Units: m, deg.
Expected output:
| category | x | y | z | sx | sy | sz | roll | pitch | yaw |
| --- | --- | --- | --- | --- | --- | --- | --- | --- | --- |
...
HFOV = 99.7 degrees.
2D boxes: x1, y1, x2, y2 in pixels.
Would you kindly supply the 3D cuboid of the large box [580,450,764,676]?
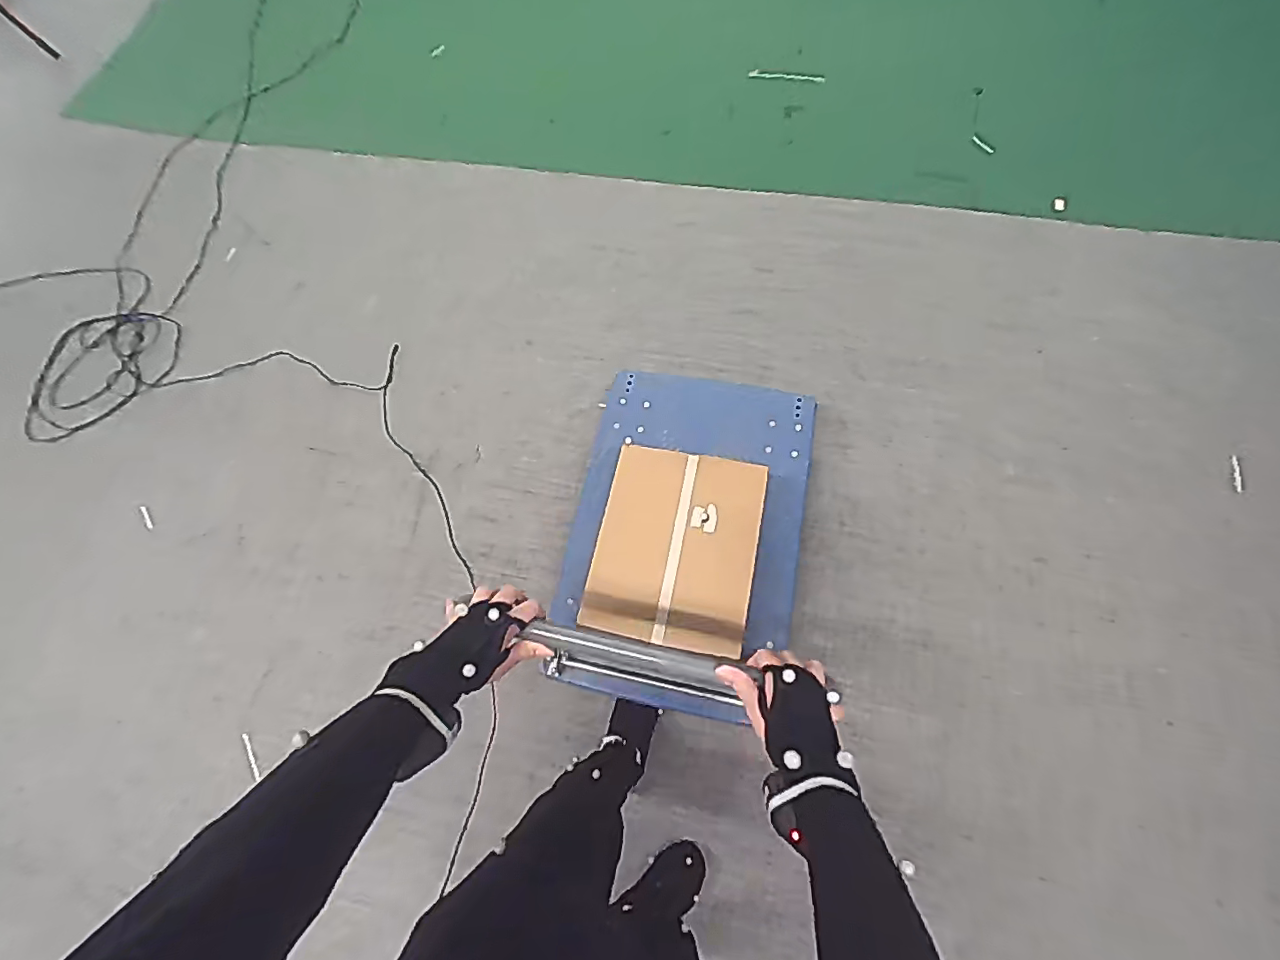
| category | x | y | z | sx | sy | sz | roll | pitch | yaw |
| --- | --- | --- | --- | --- | --- | --- | --- | --- | --- |
| large box | 0.084 | 0.195 | 1.203 | 0.320 | 0.320 | 0.408 | 10 | 68 | 9 |
